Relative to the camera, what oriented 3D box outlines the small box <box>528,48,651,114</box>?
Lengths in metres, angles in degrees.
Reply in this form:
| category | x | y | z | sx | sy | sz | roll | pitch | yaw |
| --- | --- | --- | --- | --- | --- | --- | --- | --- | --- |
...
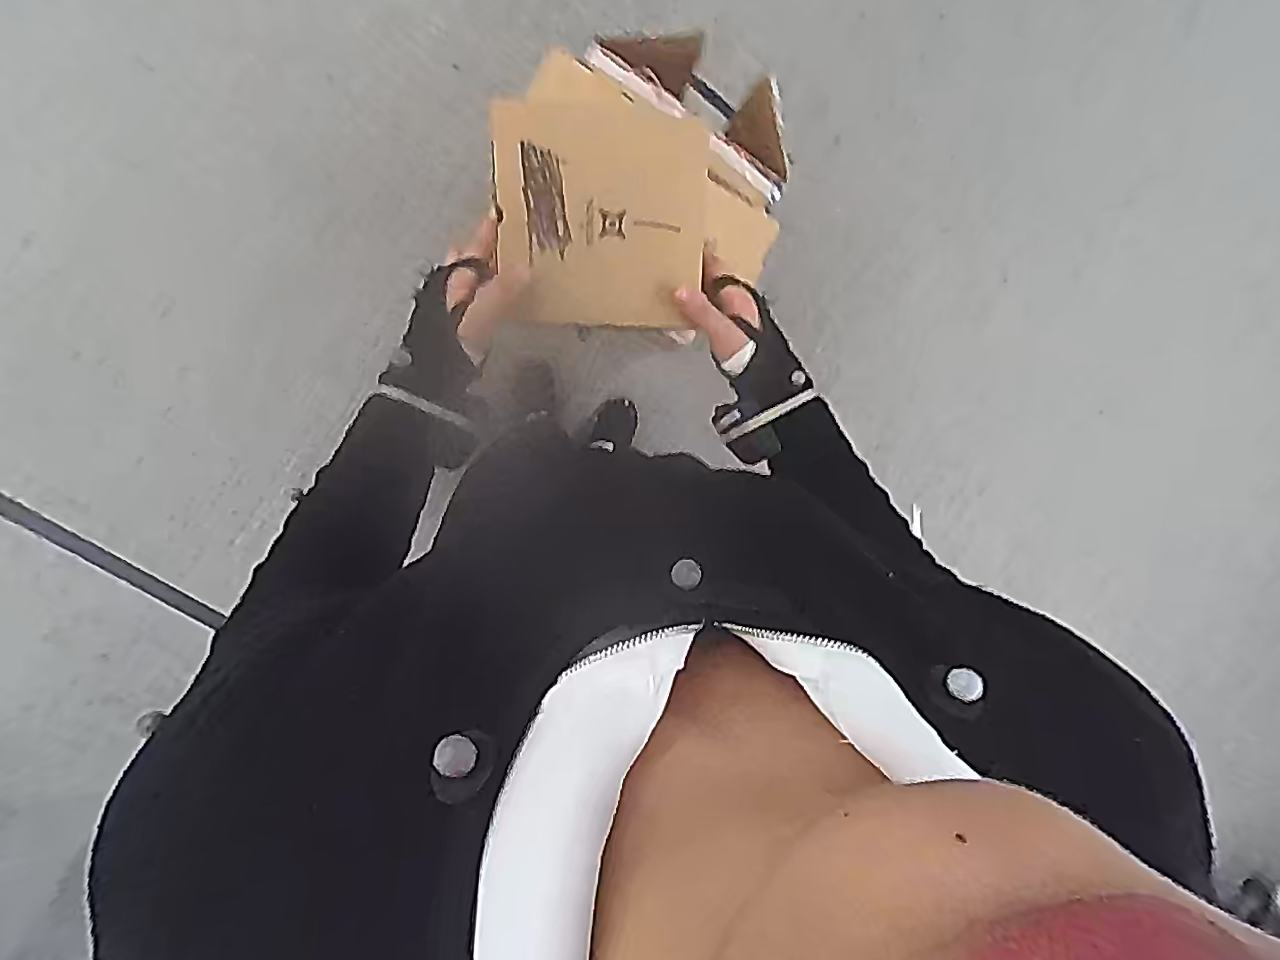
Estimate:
| category | x | y | z | sx | sy | sz | roll | pitch | yaw |
| --- | --- | --- | --- | --- | --- | --- | --- | --- | --- |
| small box | -0.090 | -0.485 | 0.827 | 0.168 | 0.176 | 0.179 | 31 | 99 | -9 |

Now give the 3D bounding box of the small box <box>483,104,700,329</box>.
| category | x | y | z | sx | sy | sz | roll | pitch | yaw |
| --- | --- | --- | --- | --- | --- | --- | --- | --- | --- |
| small box | -0.049 | -0.236 | 0.528 | 0.179 | 0.176 | 0.168 | -2 | 105 | -9 |

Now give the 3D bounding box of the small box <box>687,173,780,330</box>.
| category | x | y | z | sx | sy | sz | roll | pitch | yaw |
| --- | --- | --- | --- | --- | --- | --- | --- | --- | --- |
| small box | 0.088 | -0.358 | 0.872 | 0.179 | 0.176 | 0.168 | 27 | 99 | -12 |
